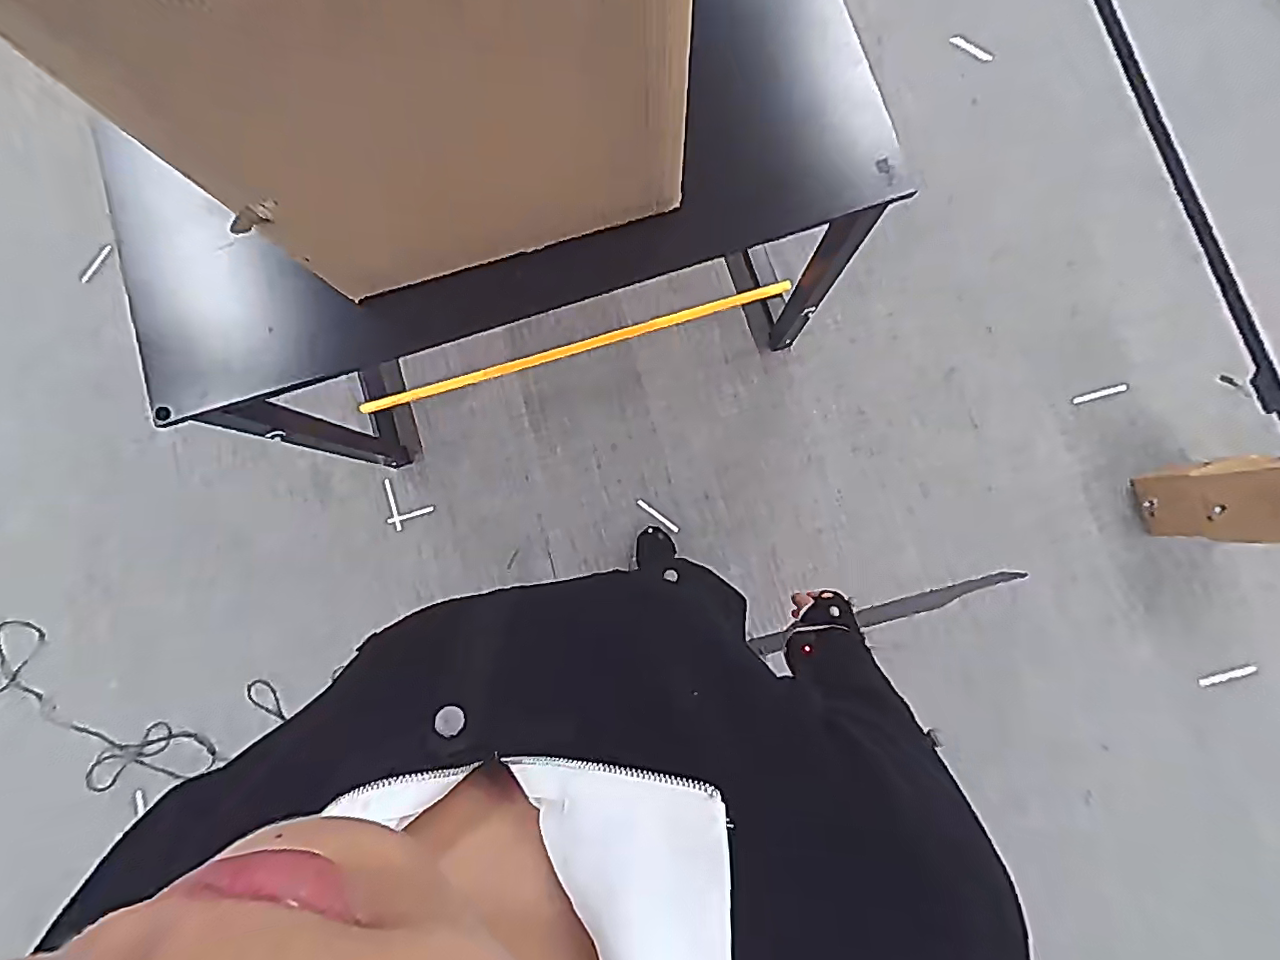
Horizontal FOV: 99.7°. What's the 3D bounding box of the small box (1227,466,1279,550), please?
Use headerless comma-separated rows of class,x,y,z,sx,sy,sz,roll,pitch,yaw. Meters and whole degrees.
small box,1.438,0.050,1.147,0.179,0.176,0.168,-16,84,0

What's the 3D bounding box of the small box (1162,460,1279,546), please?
small box,1.449,0.055,1.312,0.179,0.176,0.168,-17,84,1
